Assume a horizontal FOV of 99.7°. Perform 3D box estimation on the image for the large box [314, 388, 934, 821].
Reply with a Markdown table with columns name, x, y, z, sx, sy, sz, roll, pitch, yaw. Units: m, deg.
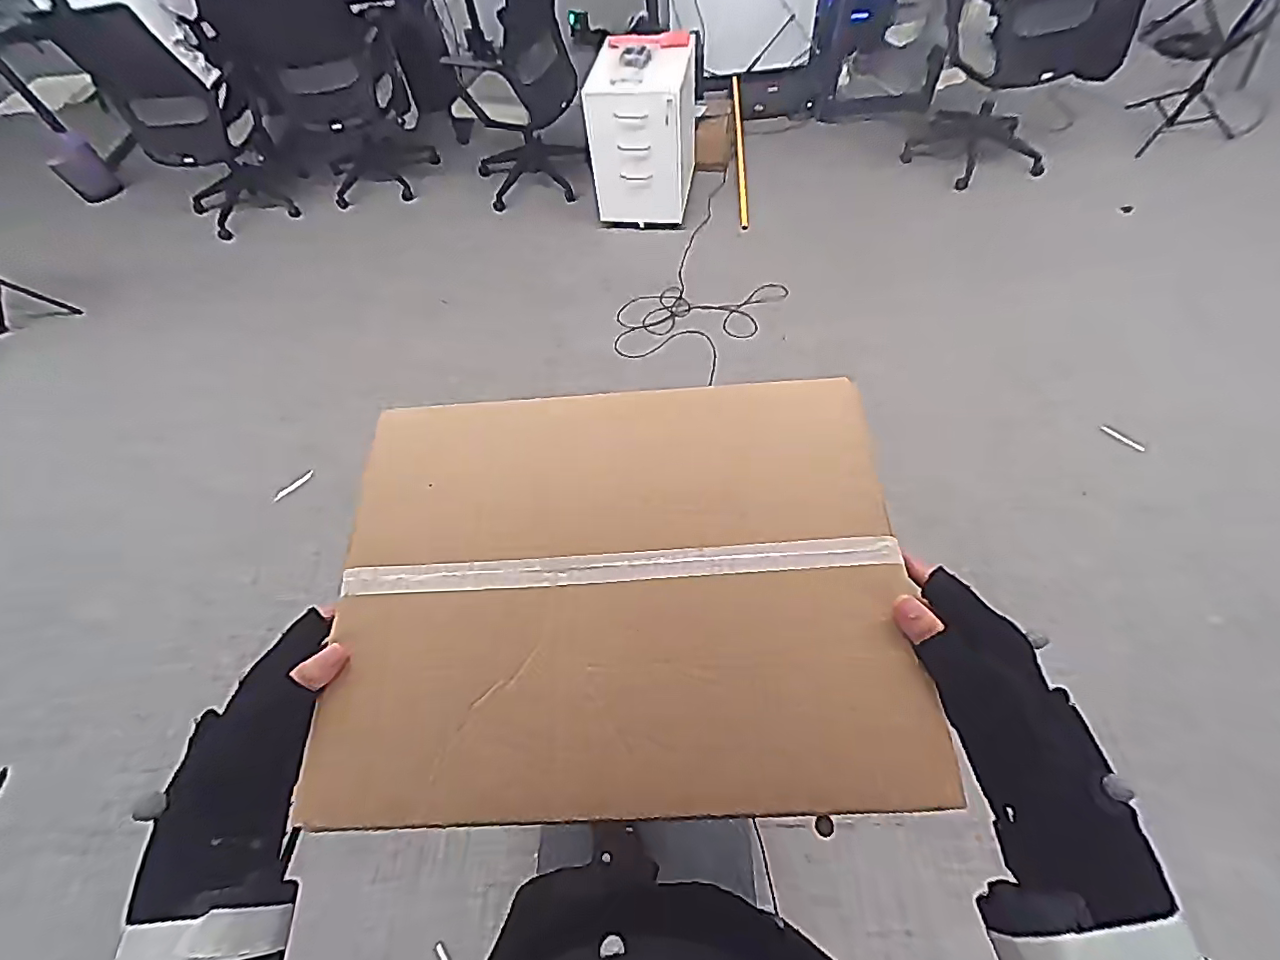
| name | x | y | z | sx | sy | sz | roll | pitch | yaw |
| --- | --- | --- | --- | --- | --- | --- | --- | --- | --- |
| large box | -0.009 | 0.135 | 0.540 | 0.408 | 0.320 | 0.320 | -3 | 62 | 2 |
